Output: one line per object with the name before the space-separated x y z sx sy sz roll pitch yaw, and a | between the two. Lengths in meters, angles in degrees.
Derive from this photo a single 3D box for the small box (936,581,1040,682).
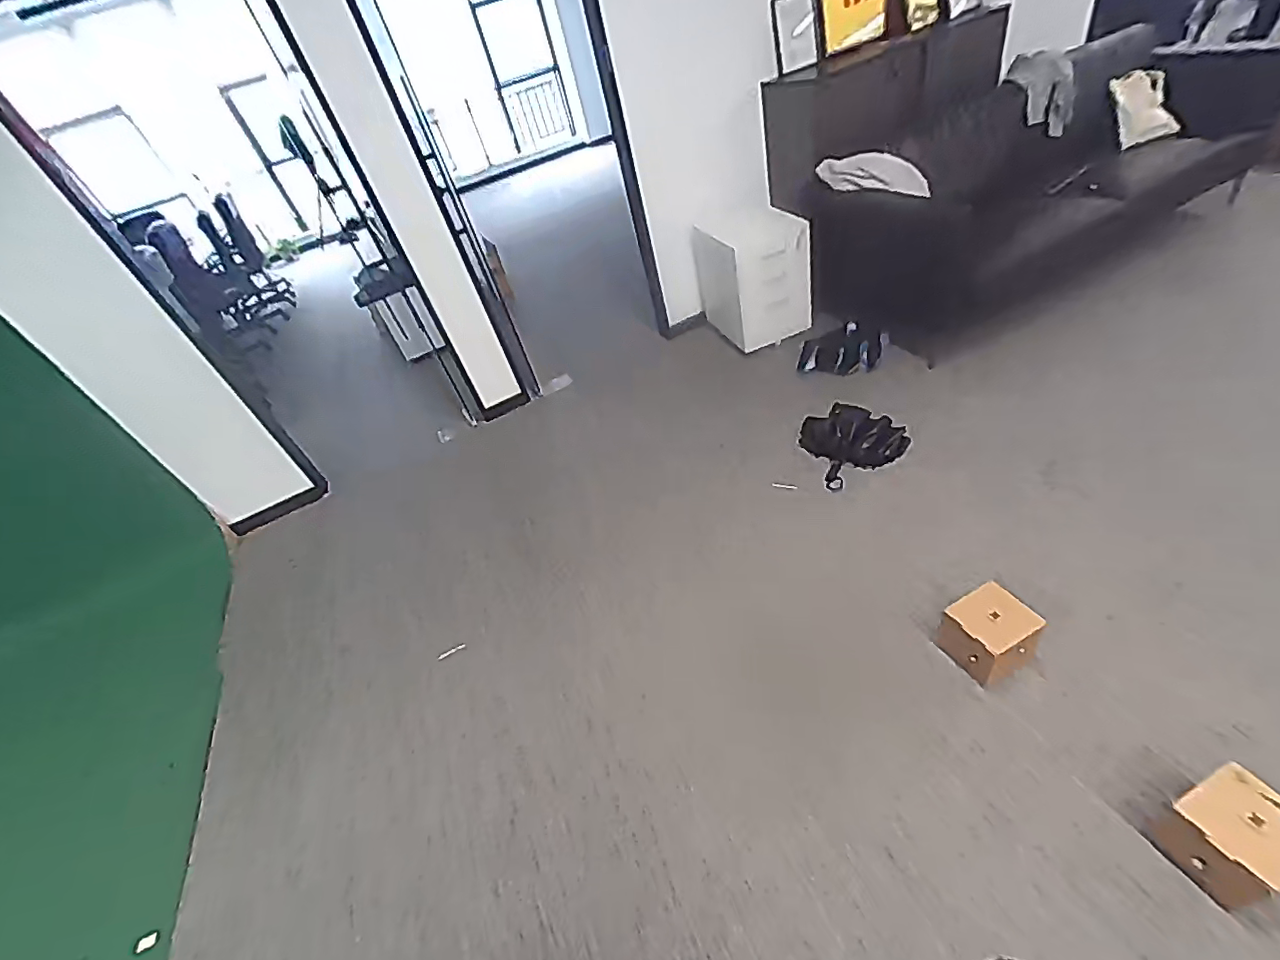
small box | 0.948 0.422 1.493 0.179 0.176 0.168 -26 41 -12

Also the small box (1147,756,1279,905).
small box | 1.174 0.702 1.082 0.179 0.176 0.168 -27 40 -10
